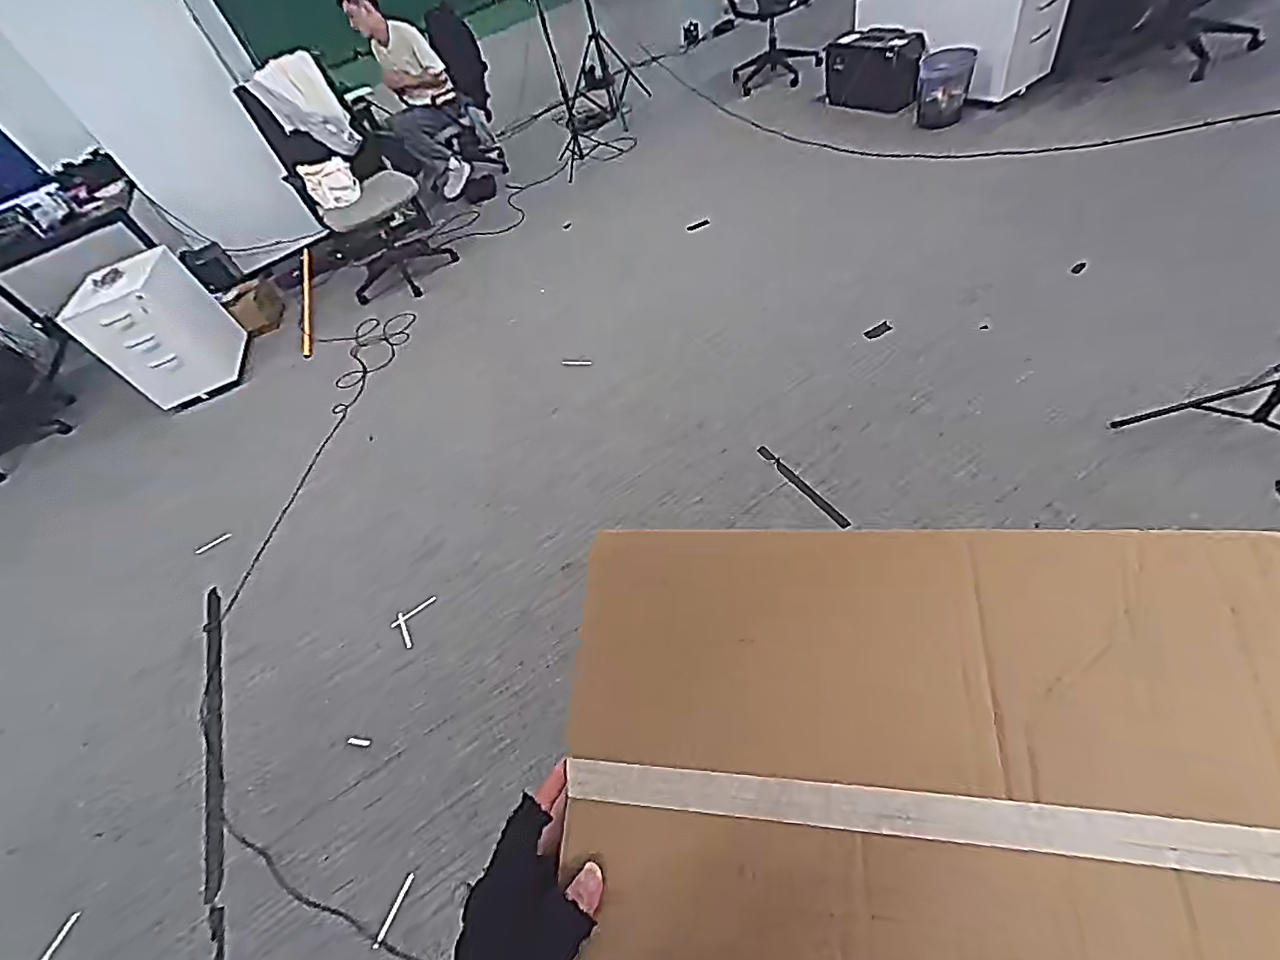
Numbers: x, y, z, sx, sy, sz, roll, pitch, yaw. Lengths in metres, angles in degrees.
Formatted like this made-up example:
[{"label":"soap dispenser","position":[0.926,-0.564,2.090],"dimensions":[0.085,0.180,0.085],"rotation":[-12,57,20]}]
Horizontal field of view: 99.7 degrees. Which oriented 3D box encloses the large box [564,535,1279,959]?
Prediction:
[{"label":"large box","position":[0.188,0.236,0.426],"dimensions":[0.408,0.320,0.320],"rotation":[-1,68,14]}]
